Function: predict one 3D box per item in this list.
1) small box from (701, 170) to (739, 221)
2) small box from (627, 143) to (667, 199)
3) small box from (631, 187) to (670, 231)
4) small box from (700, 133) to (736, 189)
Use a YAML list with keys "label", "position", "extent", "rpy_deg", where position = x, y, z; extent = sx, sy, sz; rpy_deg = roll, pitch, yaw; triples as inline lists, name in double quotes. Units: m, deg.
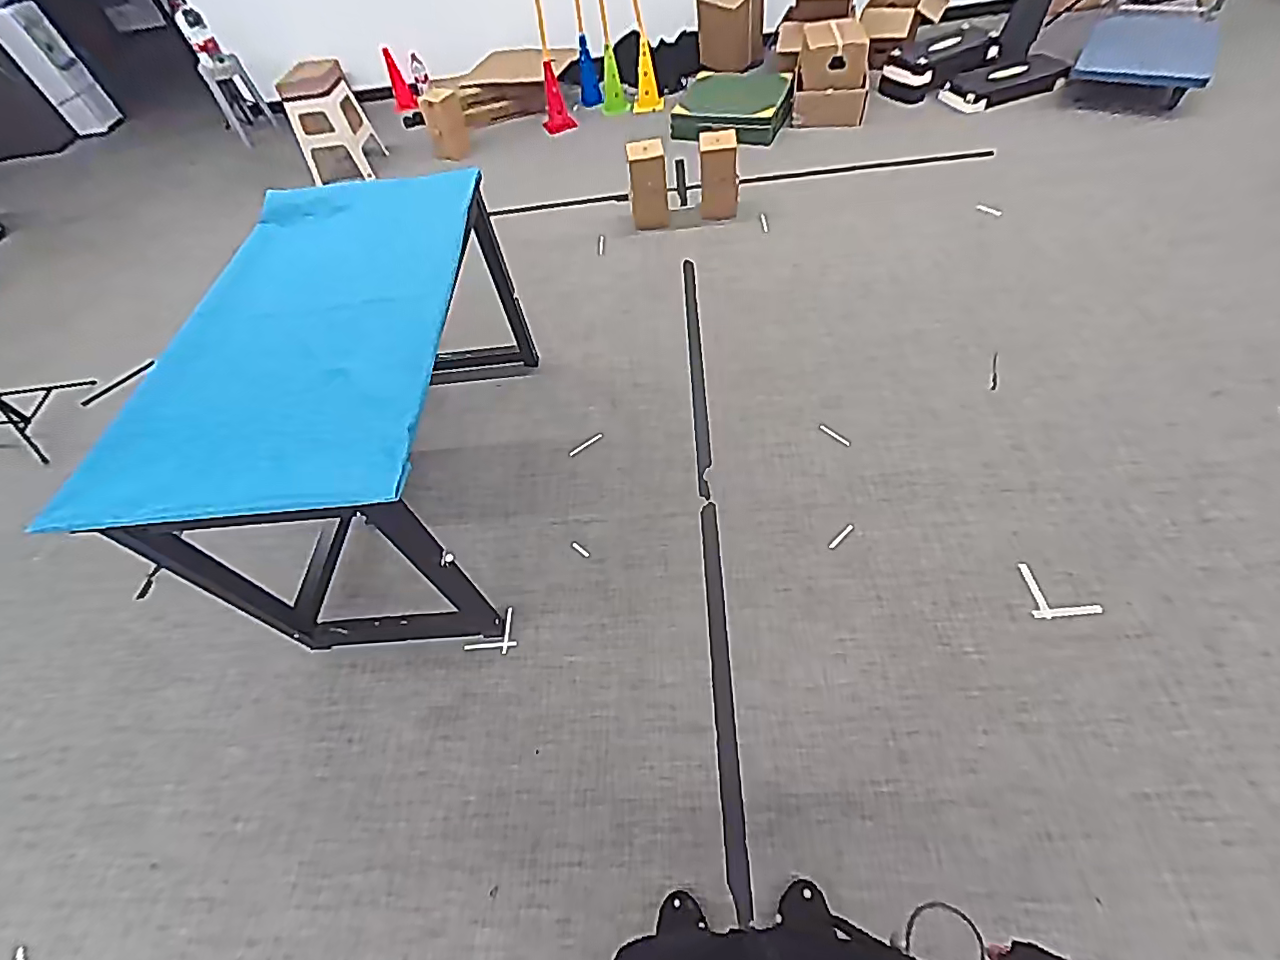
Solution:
- label: "small box"
  position: [0.393, -1.413, 2.686]
  extent: [0.179, 0.176, 0.168]
  rpy_deg: [0, 54, 6]
- label: "small box"
  position: [0.034, -1.468, 2.570]
  extent: [0.168, 0.176, 0.179]
  rpy_deg: [-8, 54, 3]
- label: "small box"
  position: [0.052, -1.369, 2.700]
  extent: [0.179, 0.176, 0.168]
  rpy_deg: [-6, 54, 3]
- label: "small box"
  position: [0.367, -1.503, 2.553]
  extent: [0.168, 0.176, 0.179]
  rpy_deg: [-2, 56, 8]
